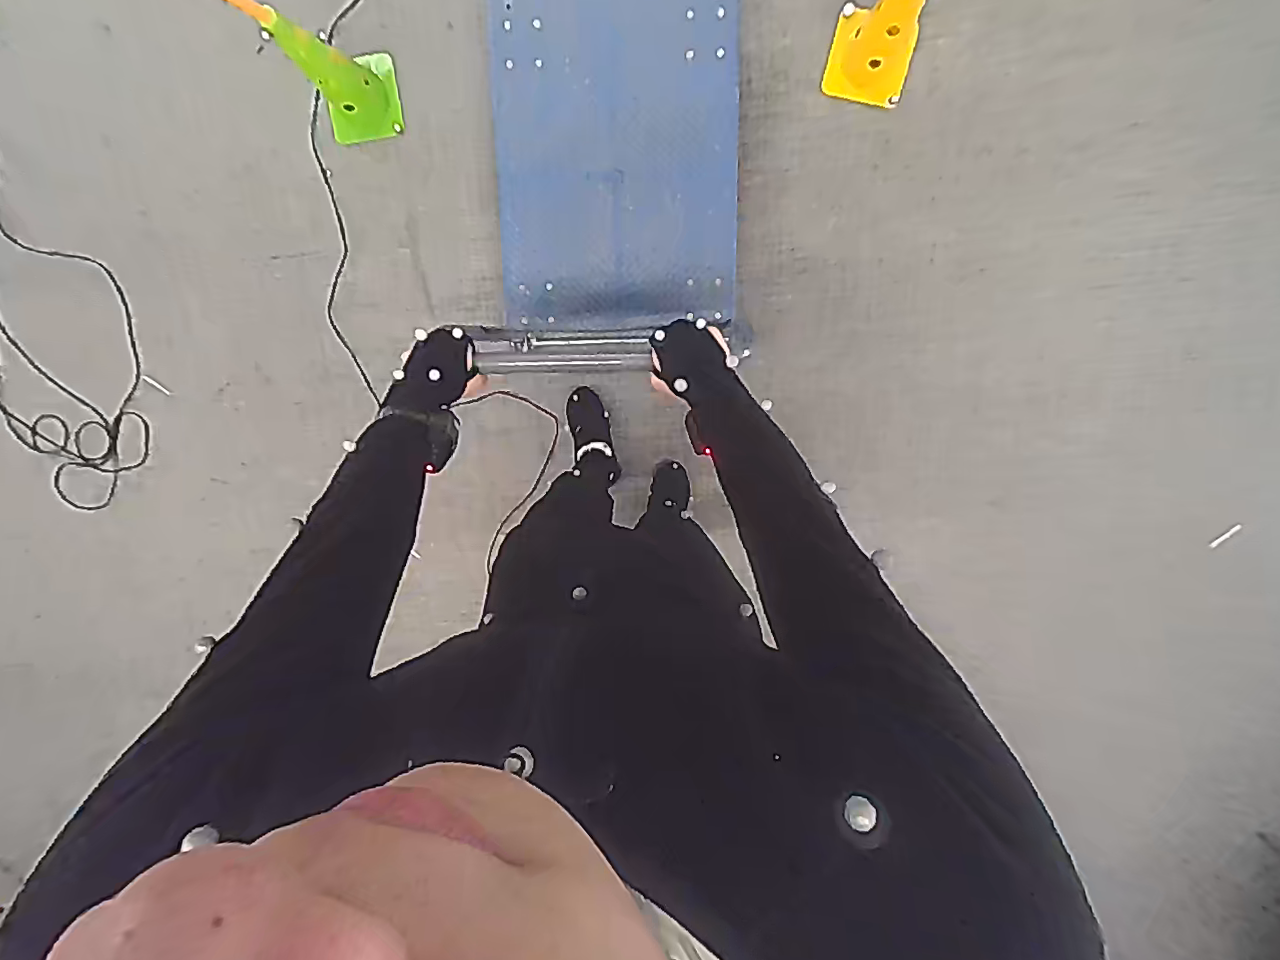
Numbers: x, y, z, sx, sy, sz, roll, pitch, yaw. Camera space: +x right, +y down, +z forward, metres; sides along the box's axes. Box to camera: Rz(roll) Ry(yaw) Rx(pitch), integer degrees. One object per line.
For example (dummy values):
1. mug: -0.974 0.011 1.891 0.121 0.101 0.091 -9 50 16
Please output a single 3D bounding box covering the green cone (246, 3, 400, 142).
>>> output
1. green cone: -0.769 -0.999 1.283 0.202 0.368 0.200 -7 100 7
